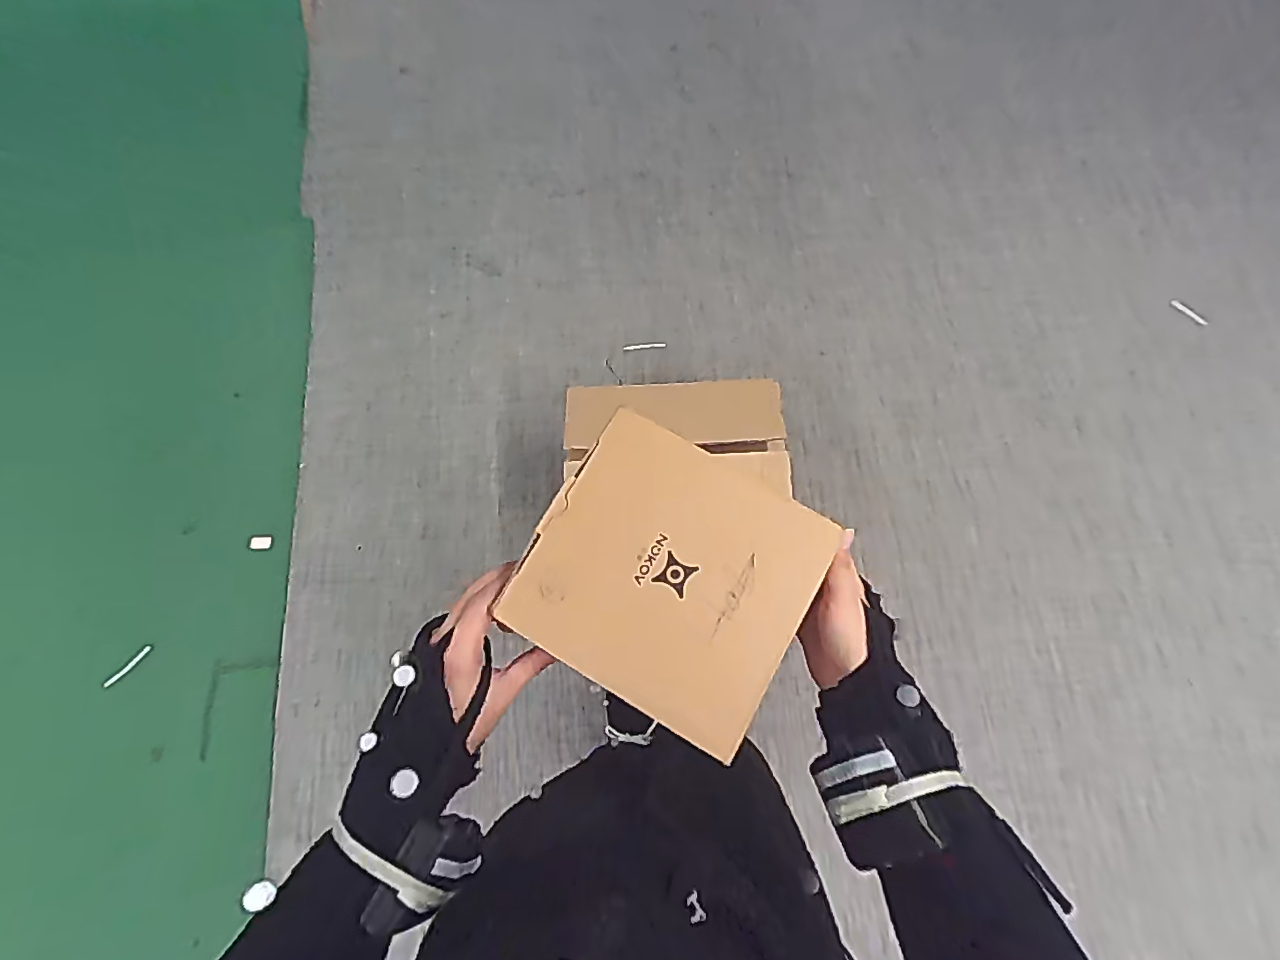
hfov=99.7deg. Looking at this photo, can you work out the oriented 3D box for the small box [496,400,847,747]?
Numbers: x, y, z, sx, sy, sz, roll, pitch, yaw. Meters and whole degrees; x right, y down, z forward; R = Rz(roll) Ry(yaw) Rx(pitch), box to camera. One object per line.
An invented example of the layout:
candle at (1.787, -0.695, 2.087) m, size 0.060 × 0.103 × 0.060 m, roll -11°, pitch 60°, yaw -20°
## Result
small box at (0.021, 0.070, 0.426) m, size 0.179 × 0.176 × 0.168 m, roll 29°, pitch 80°, yaw 6°
